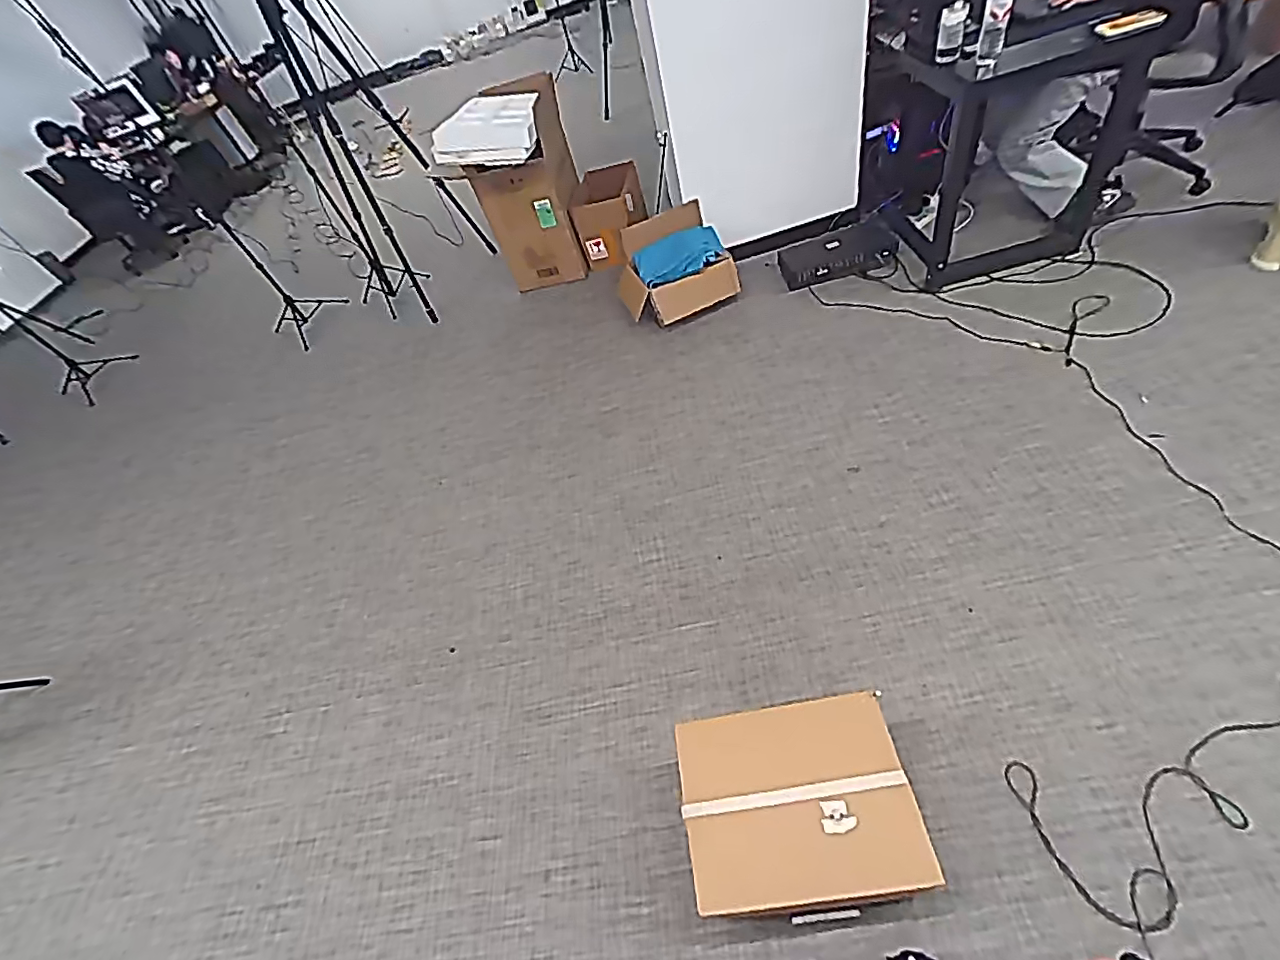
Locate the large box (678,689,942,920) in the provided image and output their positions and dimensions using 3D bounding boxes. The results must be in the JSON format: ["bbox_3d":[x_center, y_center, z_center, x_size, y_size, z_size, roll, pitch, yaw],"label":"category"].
[{"bbox_3d":[0.318,0.667,1.100,0.408,0.320,0.320,-13,49,7],"label":"large box"}]
